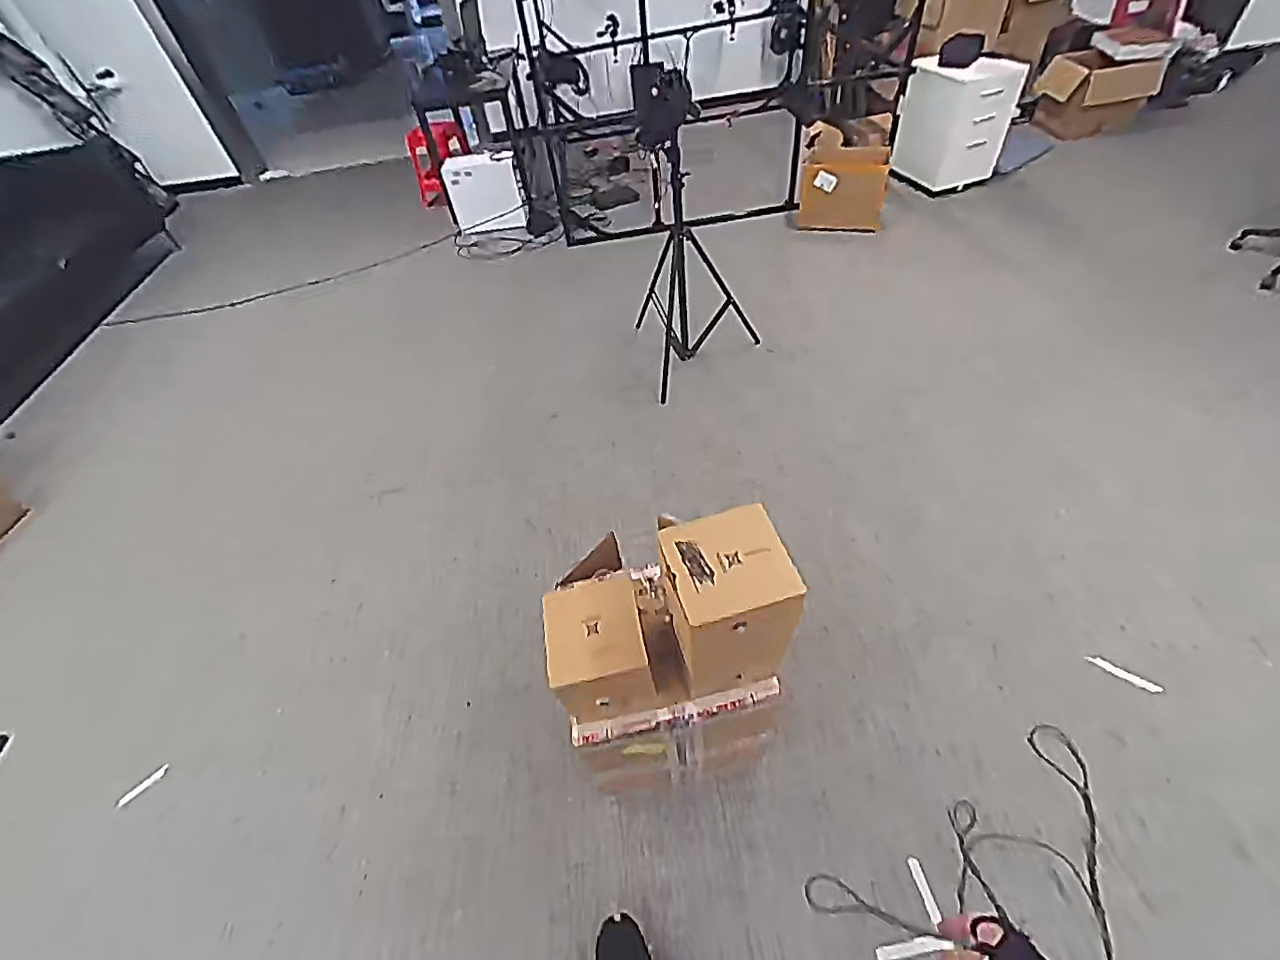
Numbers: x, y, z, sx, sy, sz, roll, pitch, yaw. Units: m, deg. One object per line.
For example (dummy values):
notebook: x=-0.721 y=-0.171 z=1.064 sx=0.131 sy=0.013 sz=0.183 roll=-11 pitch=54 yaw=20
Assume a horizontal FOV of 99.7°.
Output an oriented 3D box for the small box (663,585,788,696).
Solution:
small box: x=0.148 y=0.272 z=0.994 sx=0.179 sy=0.176 sz=0.168 roll=-15 pitch=51 yaw=-6

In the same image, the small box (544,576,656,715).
small box: x=-0.072 y=0.306 z=0.993 sx=0.168 sy=0.176 sz=0.179 roll=-13 pitch=52 yaw=-1

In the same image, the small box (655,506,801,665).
small box: x=0.134 y=0.173 z=0.862 sx=0.179 sy=0.176 sz=0.168 roll=-15 pitch=52 yaw=-6
